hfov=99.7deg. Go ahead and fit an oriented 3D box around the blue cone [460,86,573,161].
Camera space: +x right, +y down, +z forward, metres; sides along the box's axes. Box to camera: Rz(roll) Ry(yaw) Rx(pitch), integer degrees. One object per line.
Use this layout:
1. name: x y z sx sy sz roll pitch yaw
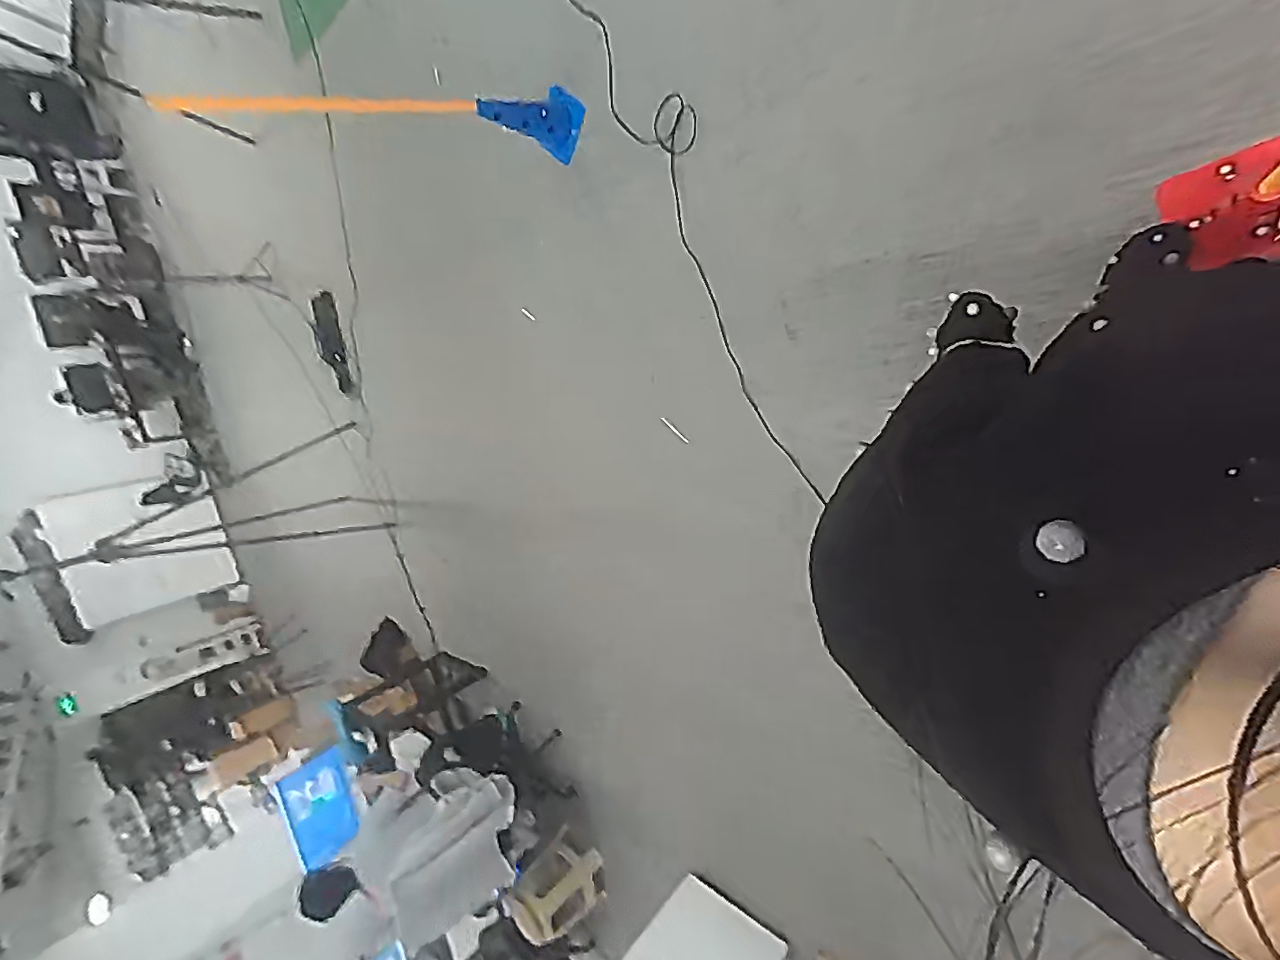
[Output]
1. blue cone: -0.419 -1.210 1.799 0.192 0.380 0.193 46 132 19
